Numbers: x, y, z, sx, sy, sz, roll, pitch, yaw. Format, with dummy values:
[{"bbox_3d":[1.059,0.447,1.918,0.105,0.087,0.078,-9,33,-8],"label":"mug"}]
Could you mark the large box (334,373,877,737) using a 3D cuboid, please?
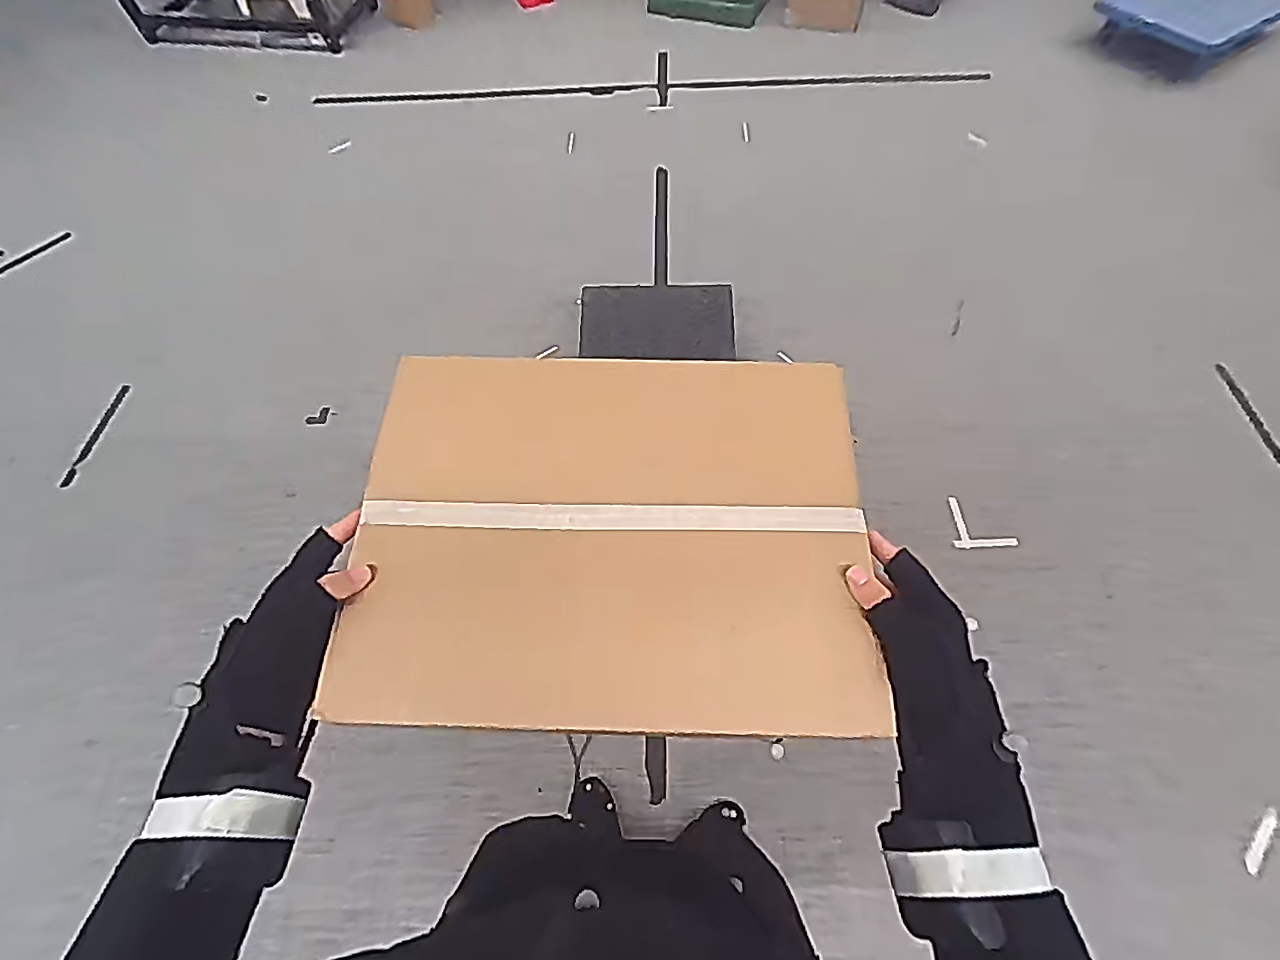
[{"bbox_3d":[-0.022,0.099,0.586,0.408,0.320,0.320,1,65,1],"label":"large box"}]
